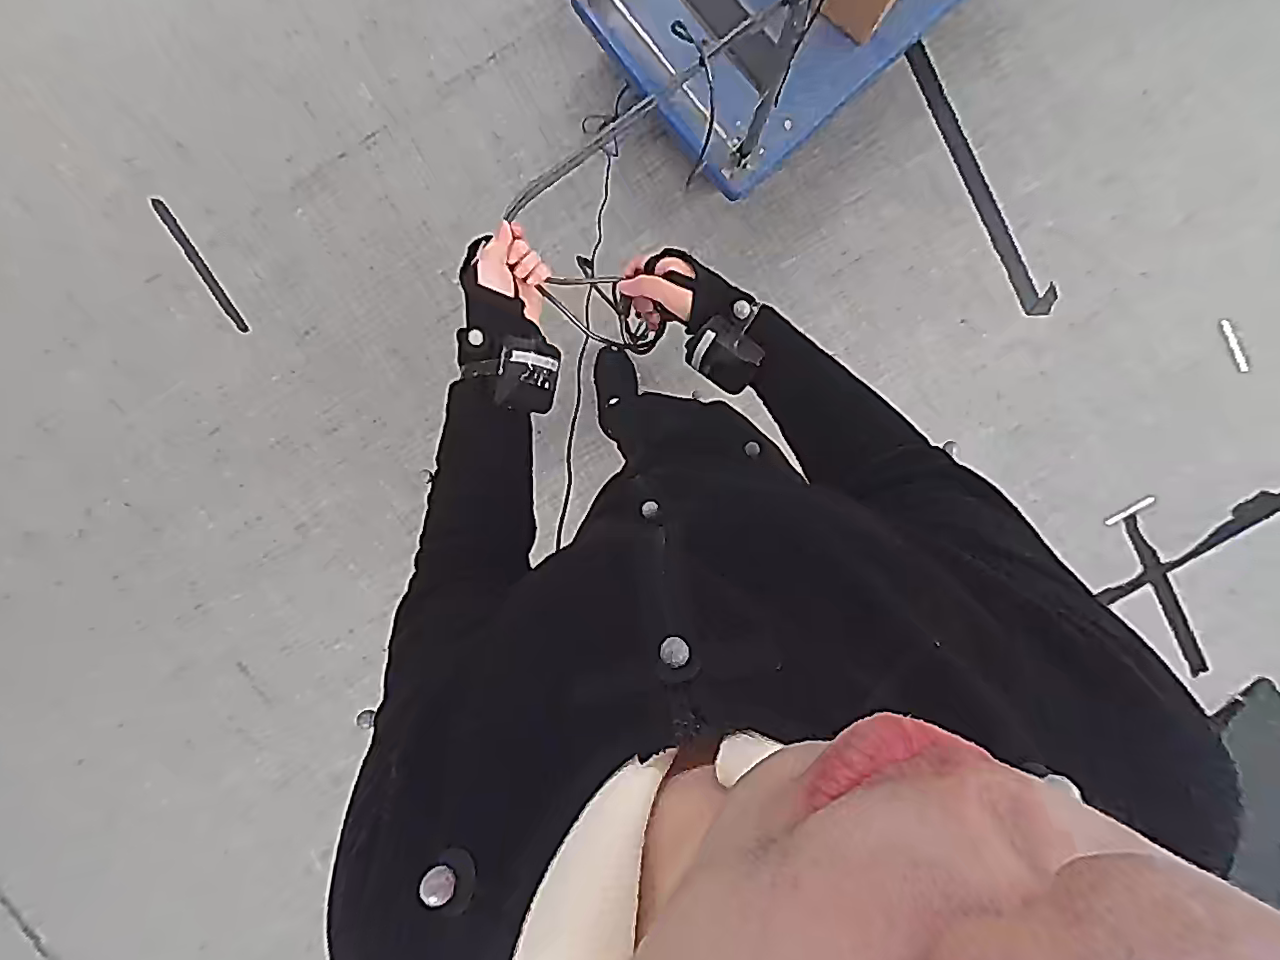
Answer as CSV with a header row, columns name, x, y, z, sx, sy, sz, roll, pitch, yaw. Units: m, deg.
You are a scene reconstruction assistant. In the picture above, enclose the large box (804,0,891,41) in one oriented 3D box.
name,x,y,z,sx,sy,sz,roll,pitch,yaw
large box,0.398,-1.155,0.992,0.408,0.320,0.320,34,97,-4
